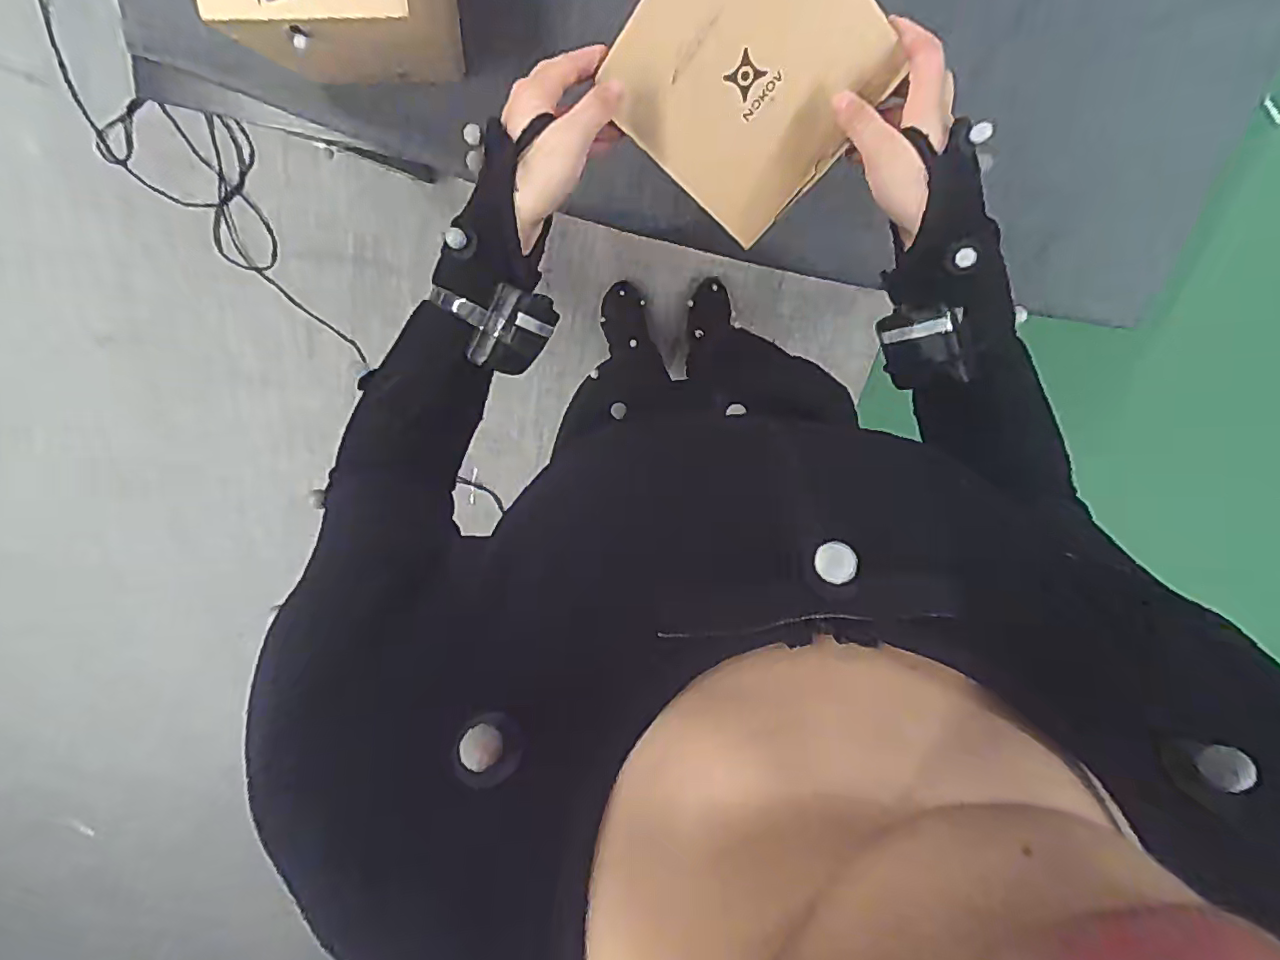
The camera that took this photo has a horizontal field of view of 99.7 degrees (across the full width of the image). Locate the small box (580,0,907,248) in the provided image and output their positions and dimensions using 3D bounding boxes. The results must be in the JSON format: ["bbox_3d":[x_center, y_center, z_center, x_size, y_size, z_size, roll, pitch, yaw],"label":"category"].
[{"bbox_3d":[0.074,-0.336,0.445,0.179,0.176,0.168,32,123,-23],"label":"small box"}]

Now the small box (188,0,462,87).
[{"bbox_3d":[-0.266,-0.468,0.463,0.168,0.176,0.179,0,112,0],"label":"small box"}]

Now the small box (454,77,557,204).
[{"bbox_3d":[-0.280,-0.710,1.155,0.168,0.176,0.179,15,111,-7],"label":"small box"}]
